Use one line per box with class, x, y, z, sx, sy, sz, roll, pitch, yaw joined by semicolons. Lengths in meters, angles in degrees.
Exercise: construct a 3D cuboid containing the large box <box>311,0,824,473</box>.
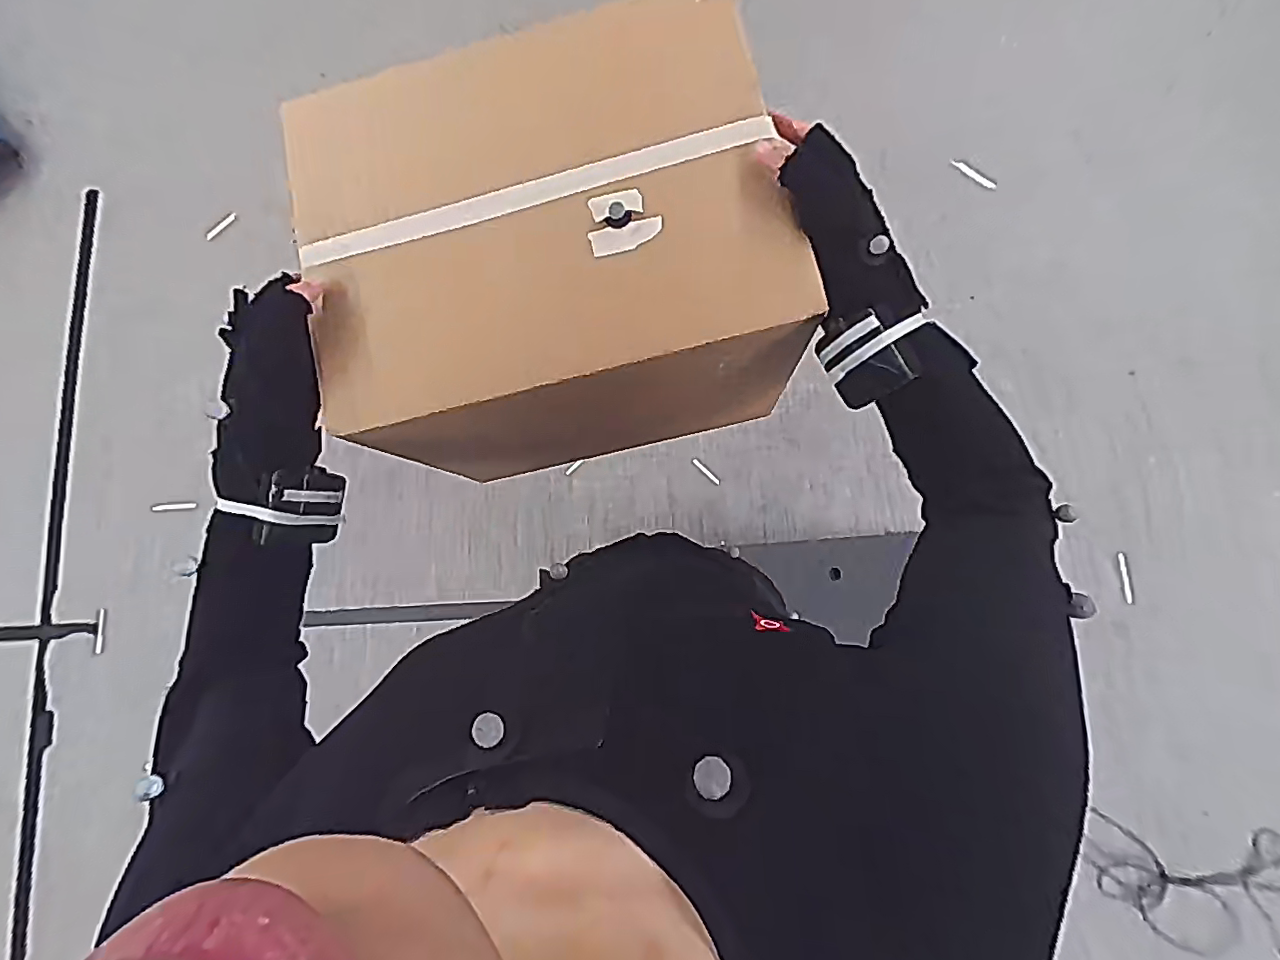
large box;-0.065;-0.220;0.605;0.408;0.320;0.320;-13;82;3
